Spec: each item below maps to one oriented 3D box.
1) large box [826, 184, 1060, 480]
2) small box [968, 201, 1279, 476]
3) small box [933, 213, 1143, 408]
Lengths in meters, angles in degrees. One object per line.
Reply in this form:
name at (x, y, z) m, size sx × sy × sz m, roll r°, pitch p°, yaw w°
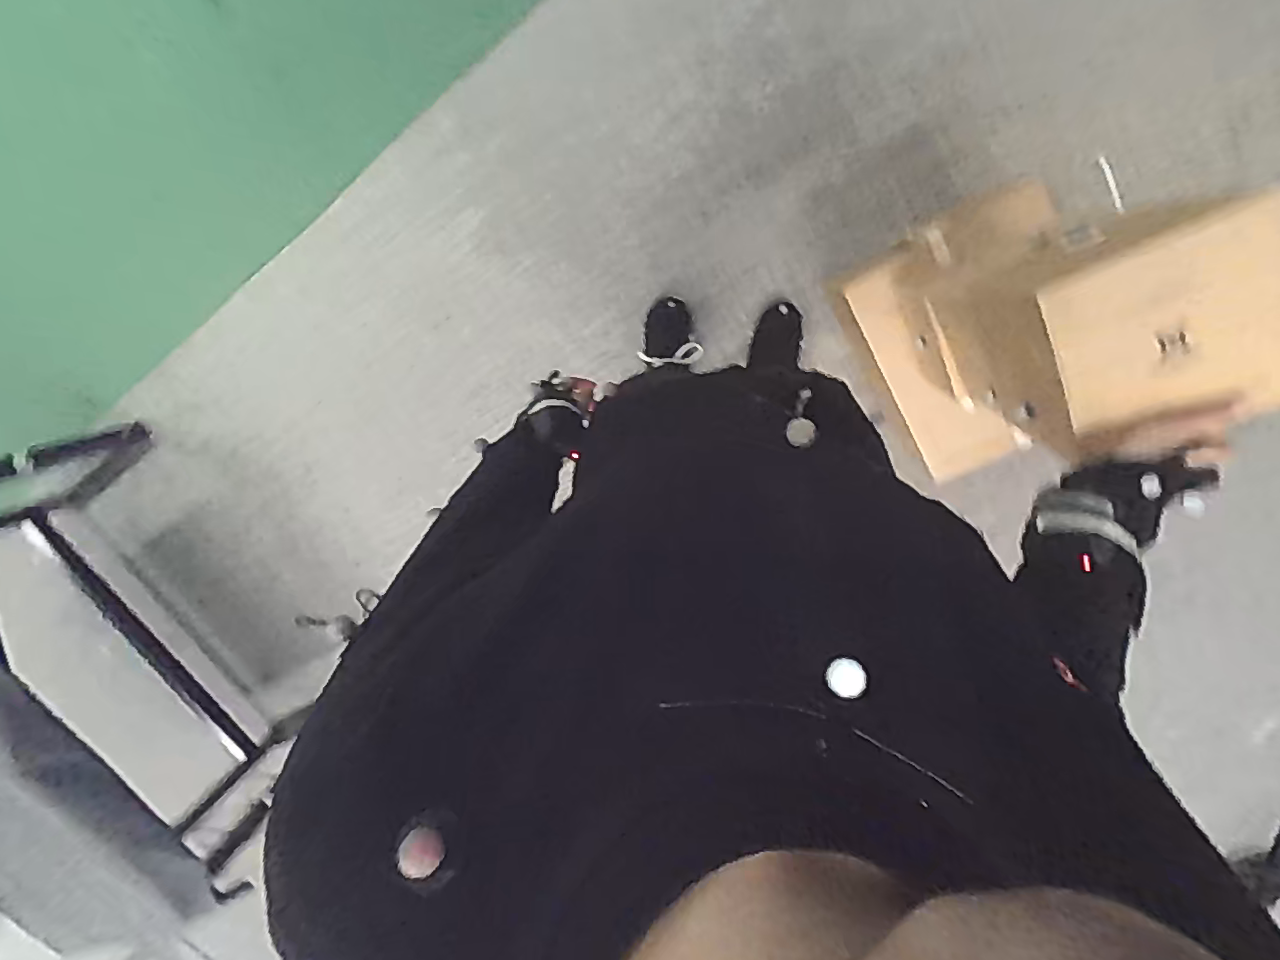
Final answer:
large box at (0.607, -0.280, 1.045) m, size 0.320 × 0.320 × 0.408 m, roll -27°, pitch 105°, yaw 21°
small box at (0.447, -0.134, 0.512) m, size 0.168 × 0.176 × 0.179 m, roll -23°, pitch 106°, yaw 18°
small box at (0.489, -0.193, 0.658) m, size 0.168 × 0.176 × 0.179 m, roll -26°, pitch 105°, yaw 20°
